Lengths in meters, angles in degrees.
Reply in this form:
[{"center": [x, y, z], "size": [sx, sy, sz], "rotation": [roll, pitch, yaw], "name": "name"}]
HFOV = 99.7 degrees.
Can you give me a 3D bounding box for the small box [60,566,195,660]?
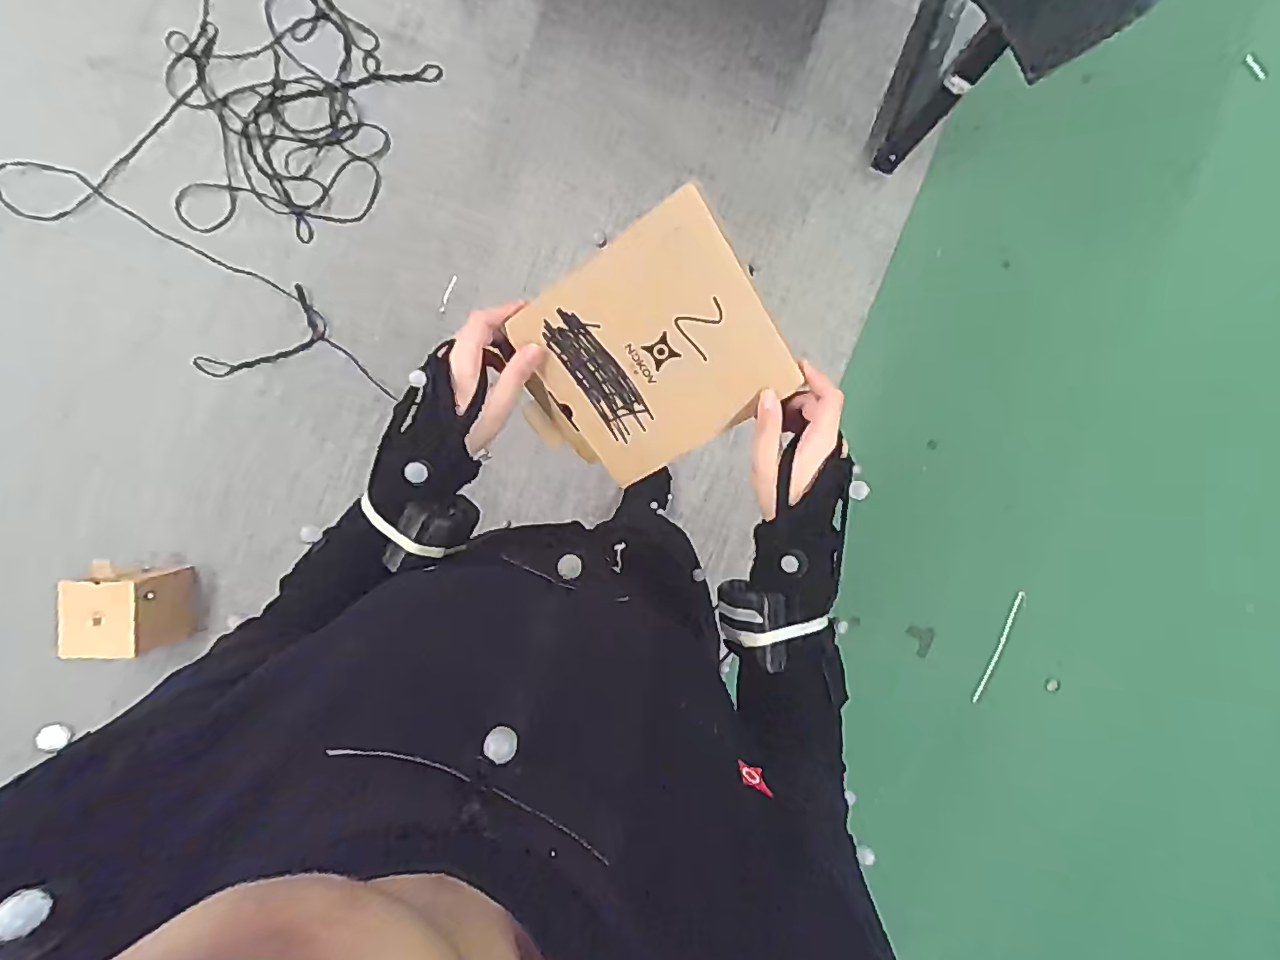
[{"center": [-1.190, 0.306, 1.267], "size": [0.168, 0.176, 0.179], "rotation": [1, 92, -2], "name": "small box"}]
